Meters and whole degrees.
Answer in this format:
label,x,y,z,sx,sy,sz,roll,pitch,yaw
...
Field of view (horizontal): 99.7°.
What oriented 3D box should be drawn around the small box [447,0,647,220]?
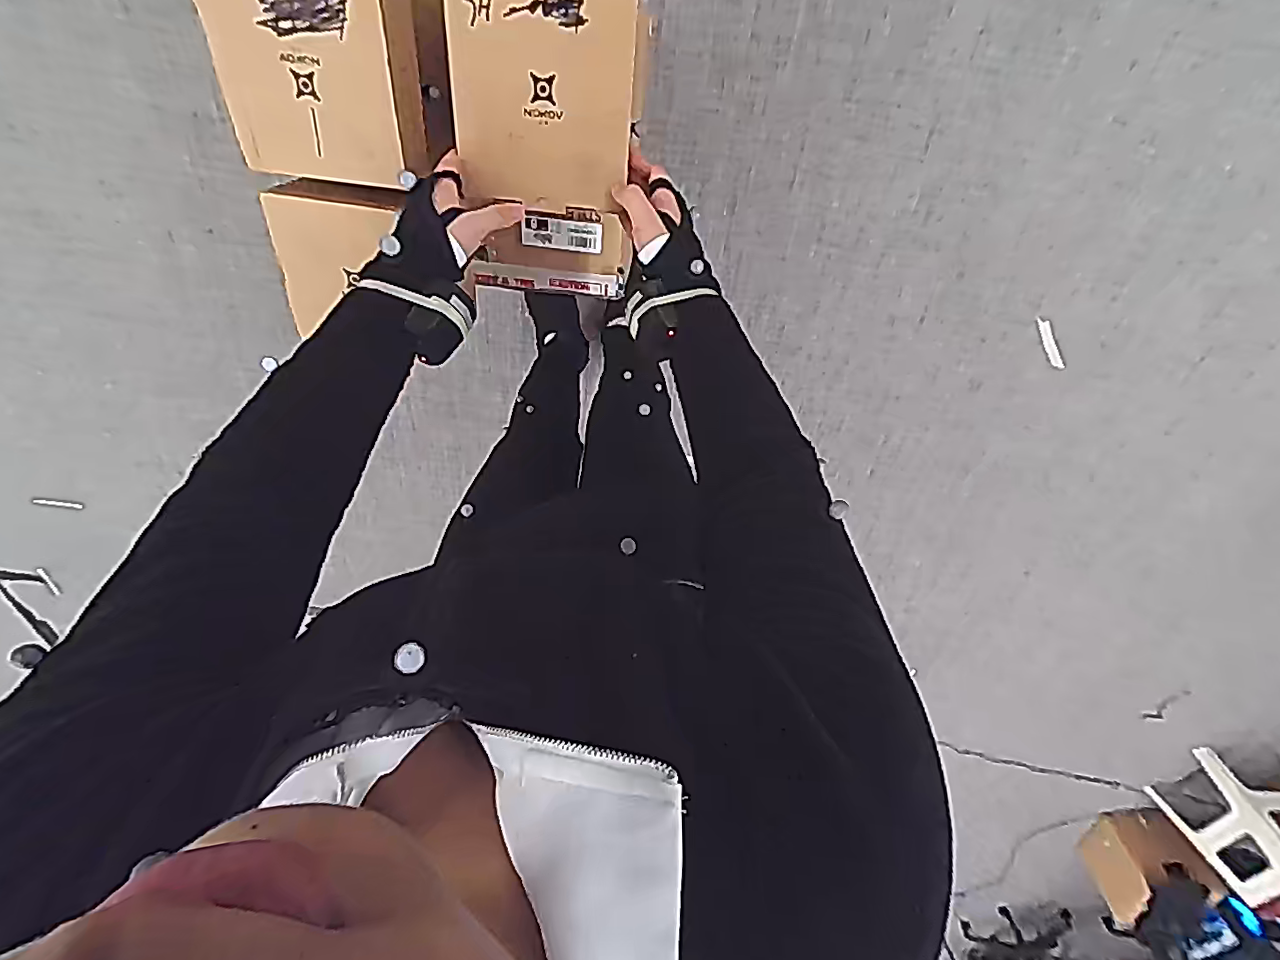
label,x,y,z,sx,sy,sz,roll,pitch,yaw
small box,-0.083,-0.387,0.558,0.168,0.176,0.179,5,125,-1
